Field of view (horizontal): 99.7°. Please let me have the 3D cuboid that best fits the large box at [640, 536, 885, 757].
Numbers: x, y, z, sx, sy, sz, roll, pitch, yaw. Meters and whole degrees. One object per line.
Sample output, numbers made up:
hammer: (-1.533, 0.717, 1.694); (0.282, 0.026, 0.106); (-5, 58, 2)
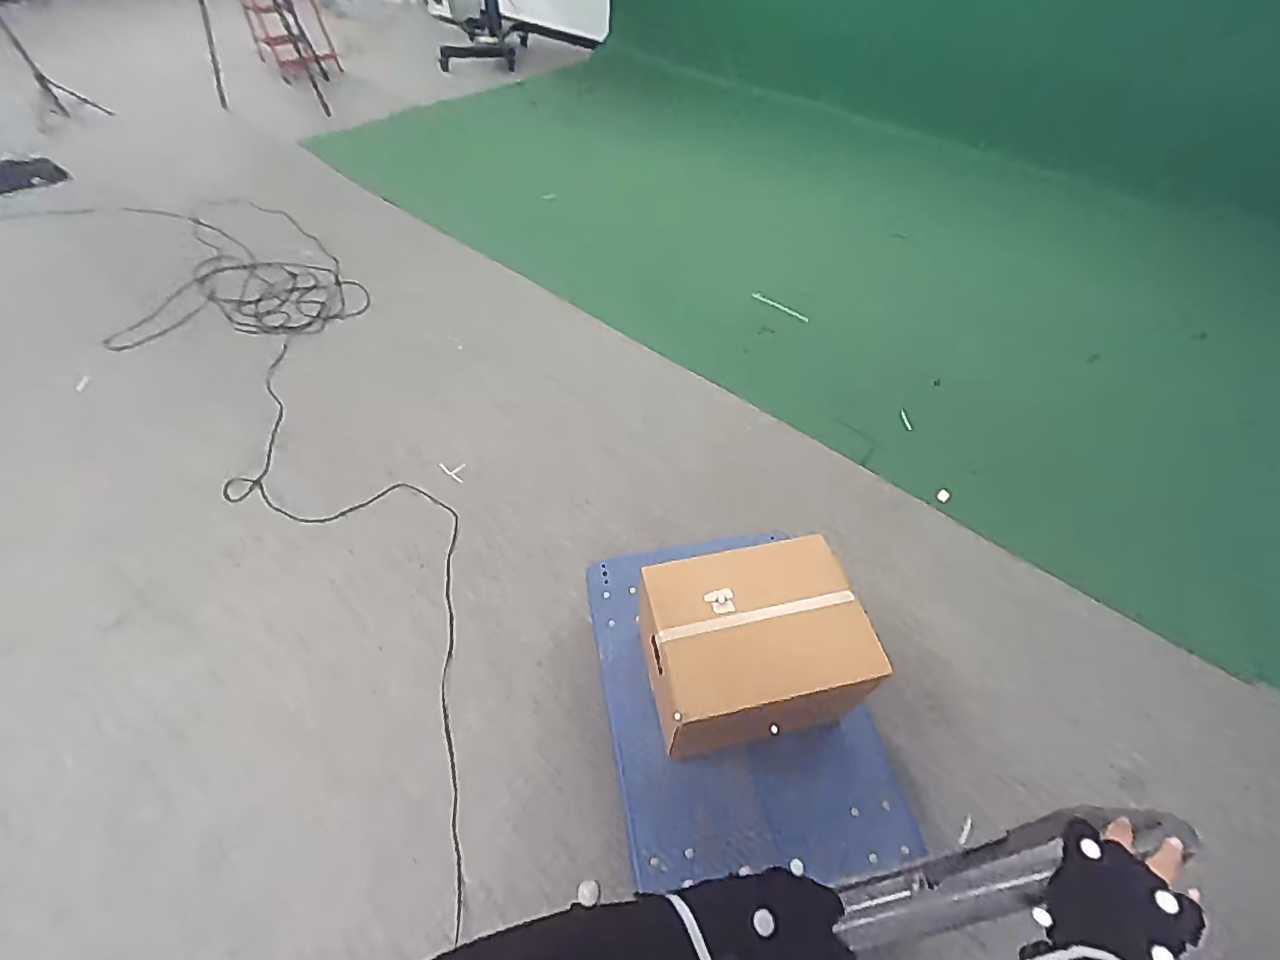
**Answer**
large box: (0.230, 0.364, 1.175); (0.408, 0.320, 0.320); (-10, 52, -9)
